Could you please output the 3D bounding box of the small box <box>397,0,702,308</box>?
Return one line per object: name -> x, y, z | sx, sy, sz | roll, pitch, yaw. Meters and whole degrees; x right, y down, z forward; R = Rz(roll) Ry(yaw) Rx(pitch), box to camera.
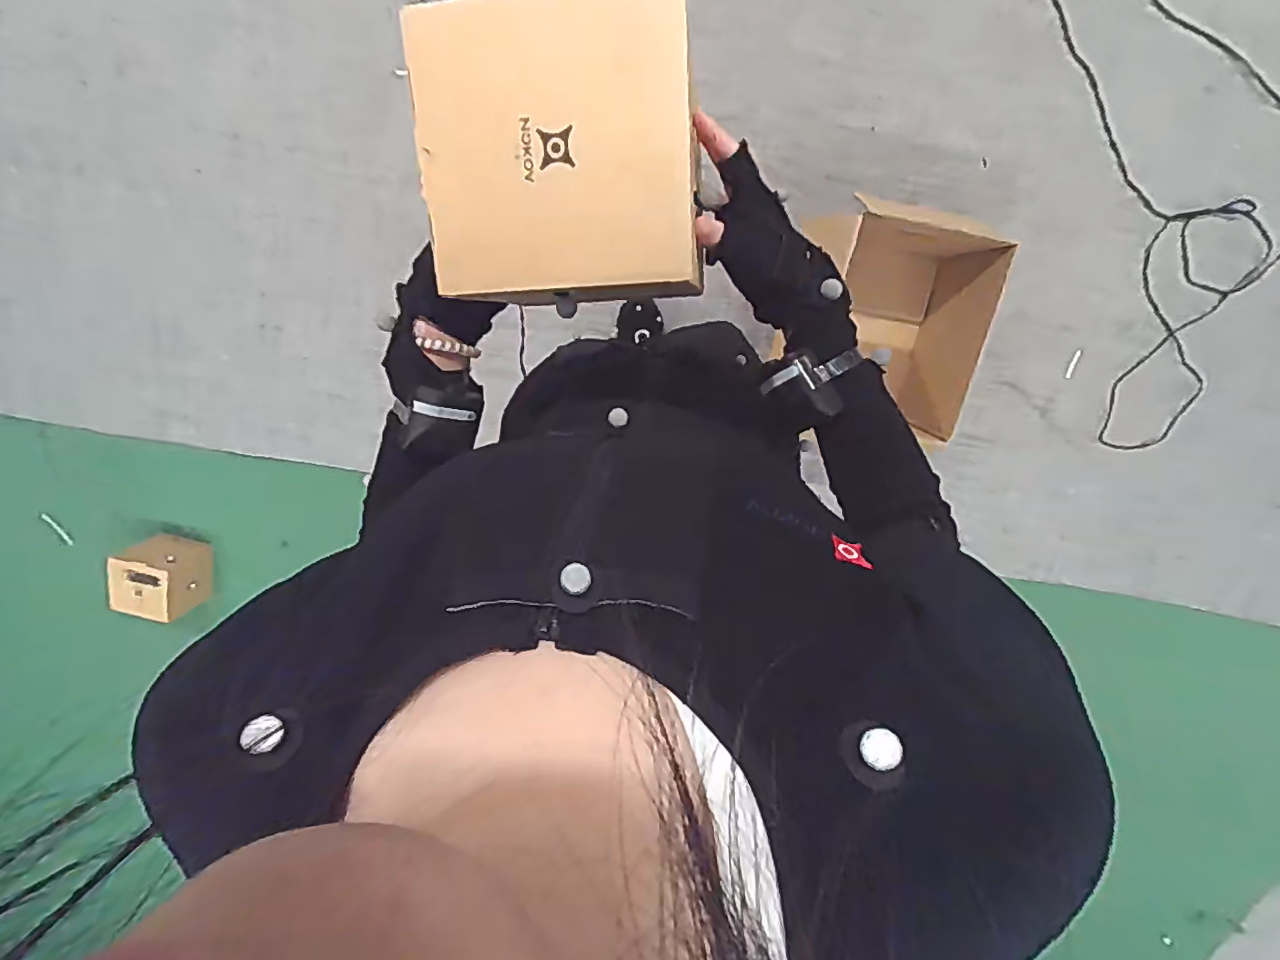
small box -> -0.043, -0.220, 0.404 | 0.179, 0.176, 0.168 | 0, 106, 10
